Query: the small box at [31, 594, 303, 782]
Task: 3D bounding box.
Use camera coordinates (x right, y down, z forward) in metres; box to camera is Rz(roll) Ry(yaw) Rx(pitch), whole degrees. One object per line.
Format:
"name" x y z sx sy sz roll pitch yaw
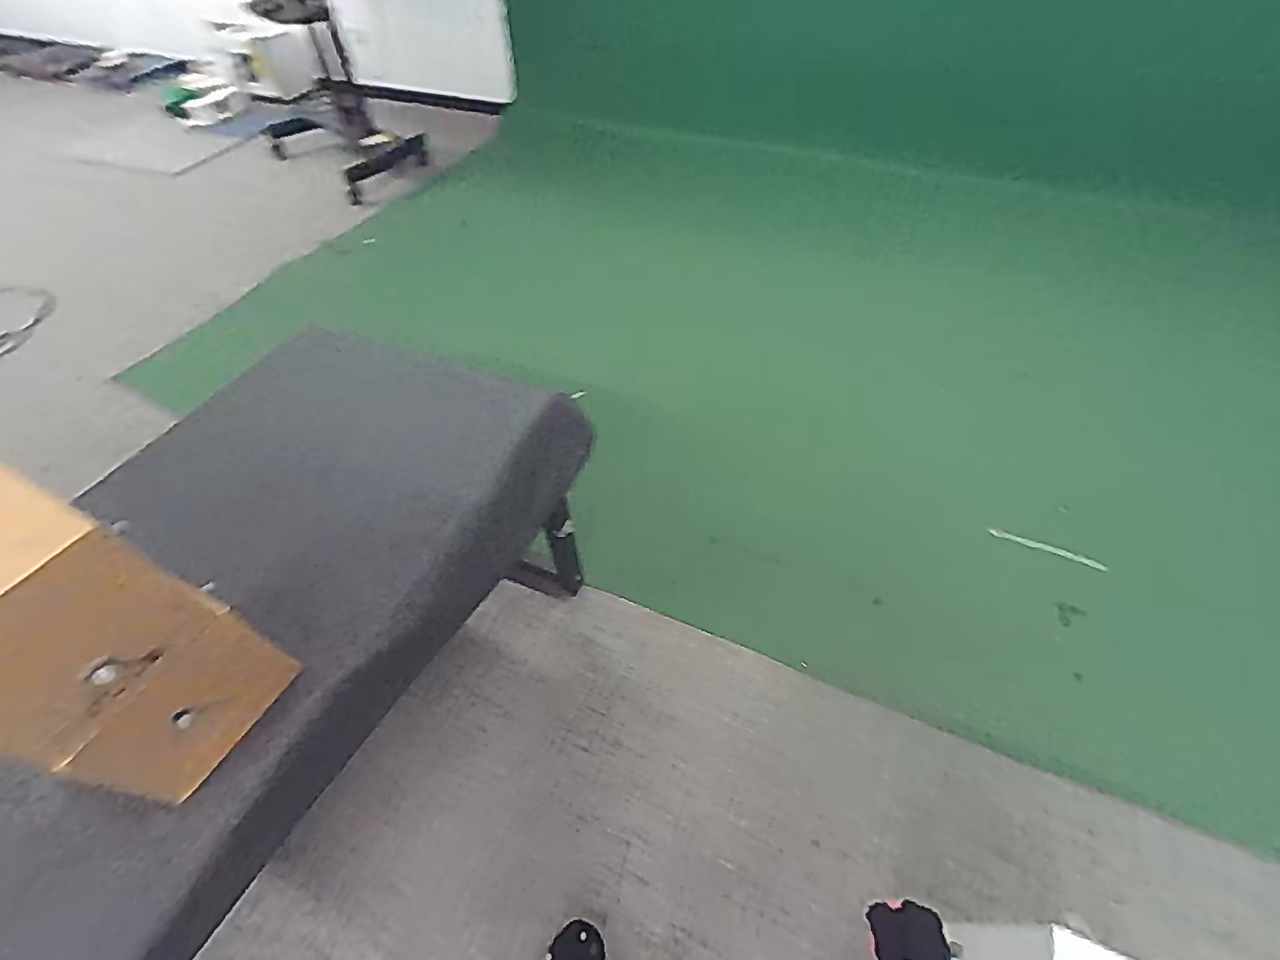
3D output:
"small box" -0.544 0.216 0.622 0.168 0.176 0.179 20 56 18
